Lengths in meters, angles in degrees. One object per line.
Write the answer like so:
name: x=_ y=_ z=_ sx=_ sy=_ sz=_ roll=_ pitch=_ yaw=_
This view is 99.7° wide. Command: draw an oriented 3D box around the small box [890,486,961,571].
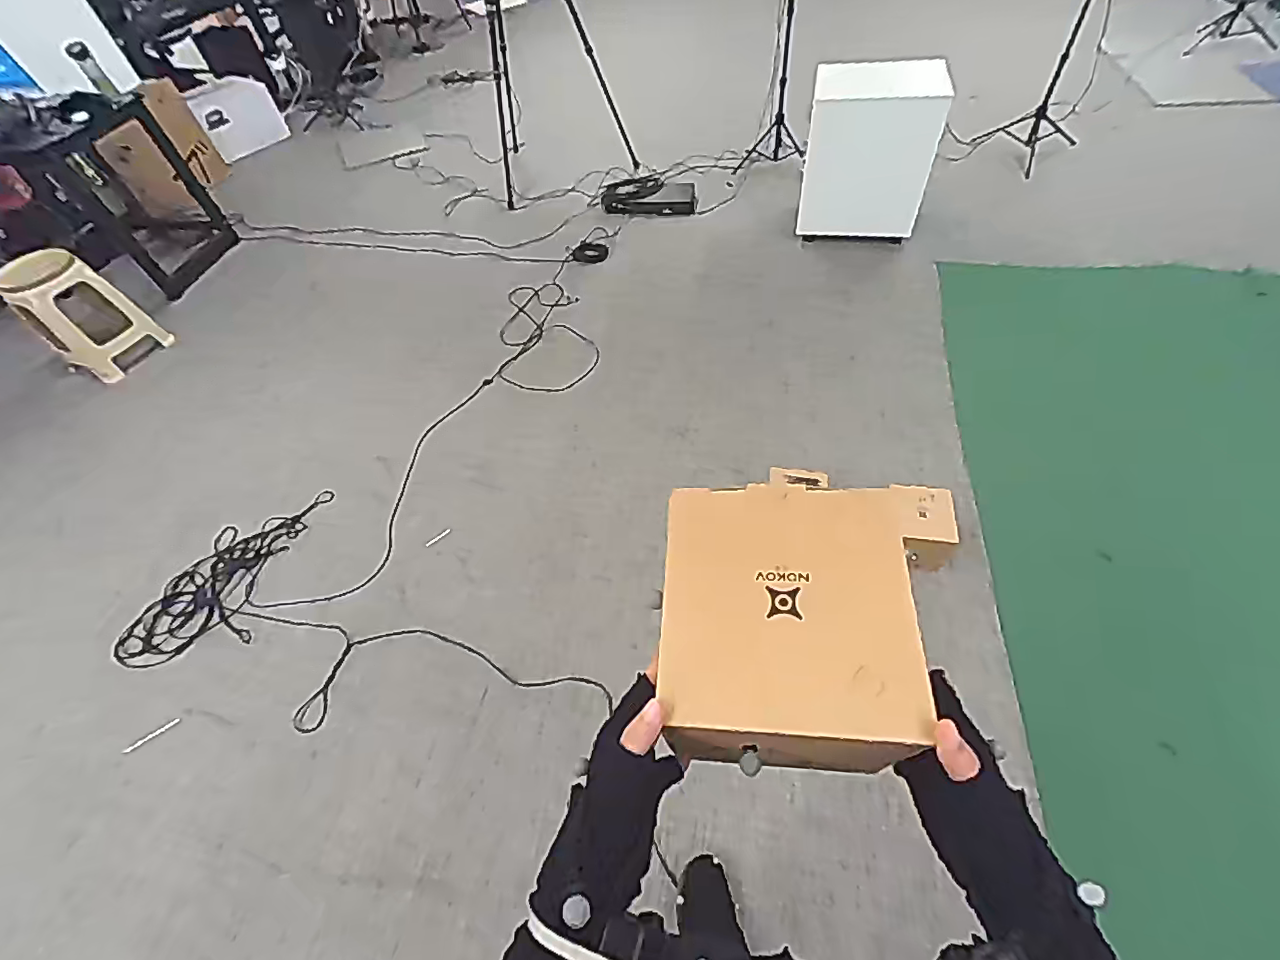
small box: x=0.784 y=0.141 z=1.533 sx=0.168 sy=0.176 sz=0.179 roll=6 pitch=54 yaw=11

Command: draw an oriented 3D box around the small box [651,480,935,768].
small box: x=0.107 y=0.118 z=0.427 sx=0.168 sy=0.176 sz=0.179 roll=-1 pitch=55 yaw=10
